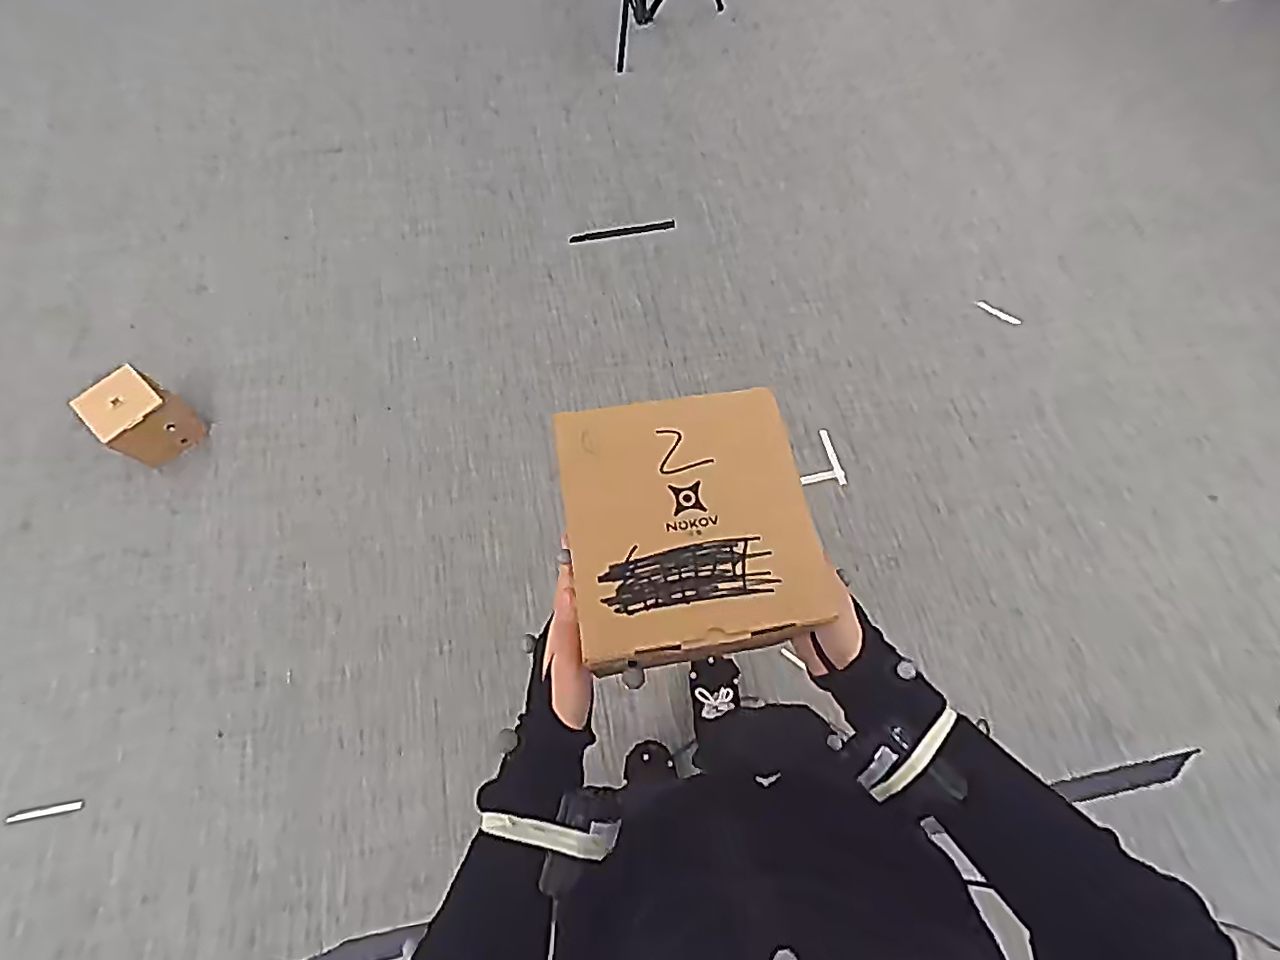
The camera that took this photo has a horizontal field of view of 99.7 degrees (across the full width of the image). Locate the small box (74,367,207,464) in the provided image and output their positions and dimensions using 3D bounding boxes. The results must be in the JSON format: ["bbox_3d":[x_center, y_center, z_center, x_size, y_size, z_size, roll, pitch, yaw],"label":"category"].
[{"bbox_3d":[-1.340,-0.164,1.466,0.179,0.176,0.168,39,72,14],"label":"small box"}]
